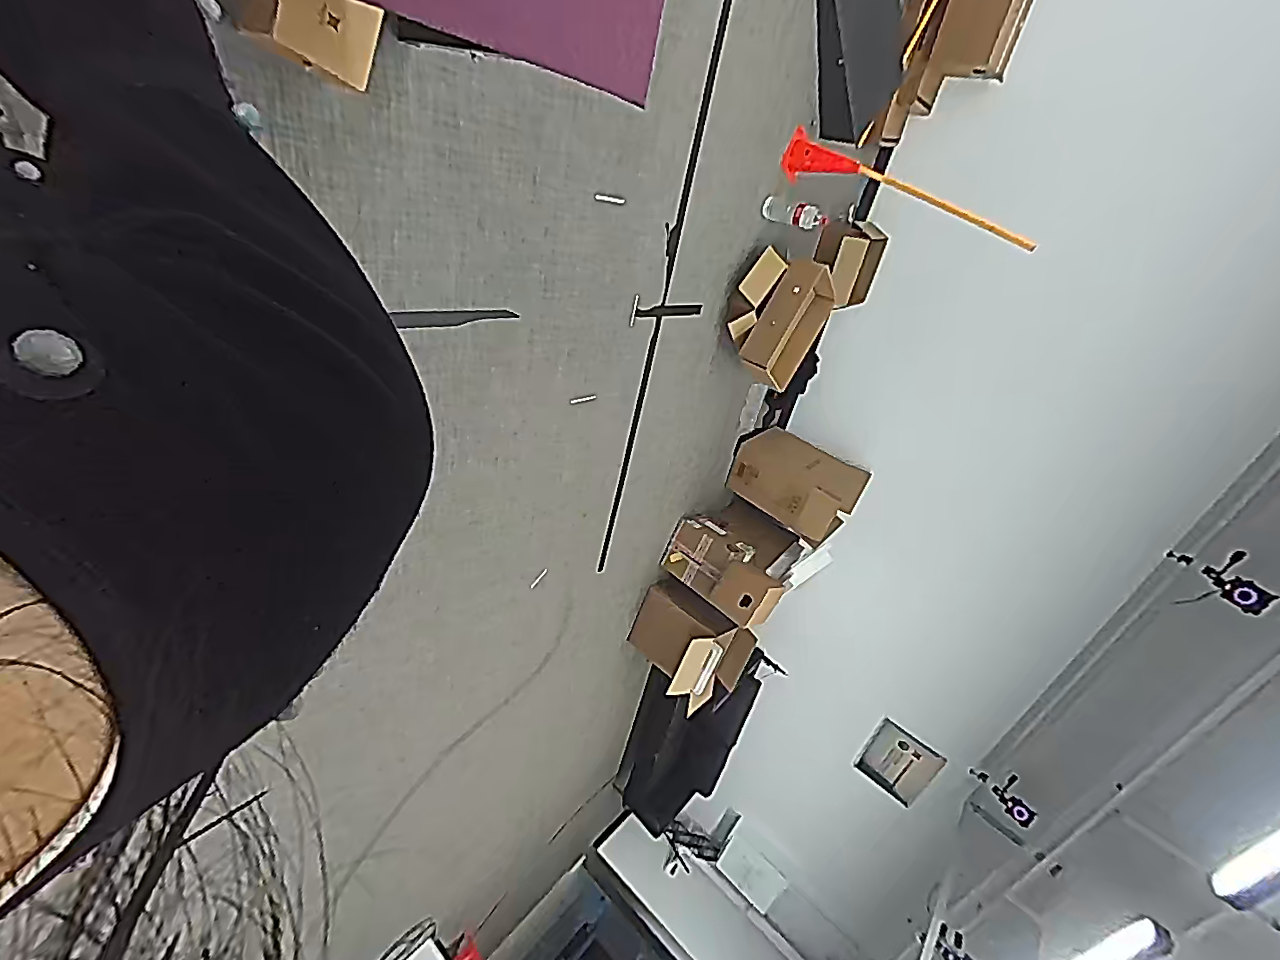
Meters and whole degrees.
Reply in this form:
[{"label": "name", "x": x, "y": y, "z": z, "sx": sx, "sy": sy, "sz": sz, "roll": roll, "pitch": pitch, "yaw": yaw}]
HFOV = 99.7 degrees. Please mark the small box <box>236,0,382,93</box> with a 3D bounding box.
[{"label": "small box", "x": -0.650, "y": -0.909, "z": 1.062, "sx": 0.179, "sy": 0.176, "sz": 0.168, "roll": 0, "pitch": 119, "yaw": -56}]
